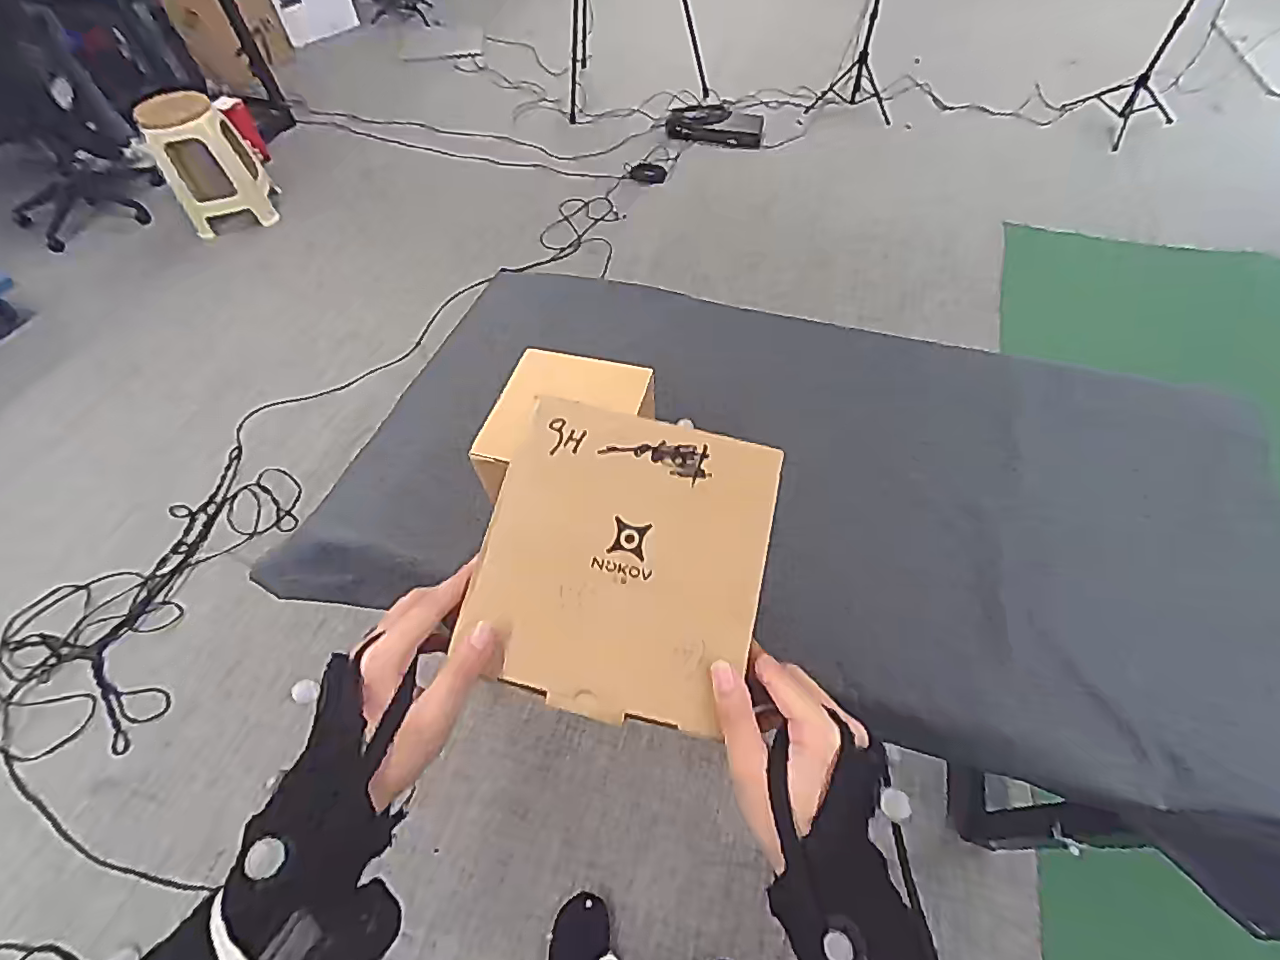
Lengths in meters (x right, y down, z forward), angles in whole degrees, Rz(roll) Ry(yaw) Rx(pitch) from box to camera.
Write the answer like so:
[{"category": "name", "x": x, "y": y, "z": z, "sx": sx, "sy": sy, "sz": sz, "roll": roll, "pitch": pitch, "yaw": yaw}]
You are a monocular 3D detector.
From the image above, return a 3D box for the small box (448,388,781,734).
[{"category": "small box", "x": -0.011, "y": 0.062, "z": 0.398, "sx": 0.168, "sy": 0.176, "sz": 0.179, "roll": 14, "pitch": 73, "yaw": 3}]

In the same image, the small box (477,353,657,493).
[{"category": "small box", "x": -0.078, "y": -0.030, "z": 0.685, "sx": 0.168, "sy": 0.176, "sz": 0.179, "roll": 11, "pitch": 57, "yaw": 10}]
